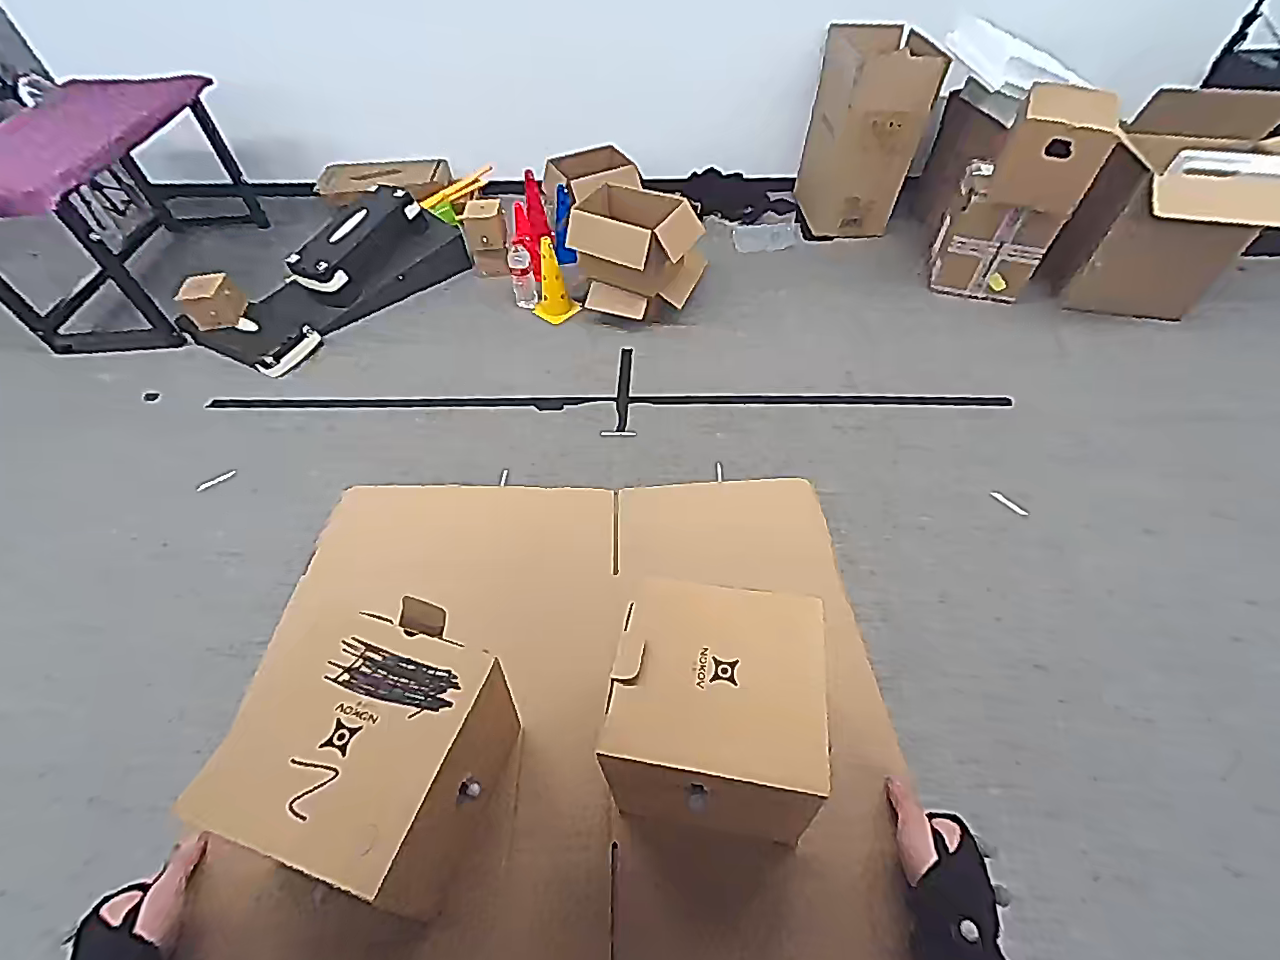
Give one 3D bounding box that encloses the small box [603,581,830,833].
[{"bbox_3d":[0.077,0.221,0.522,0.179,0.176,0.168,4,48,11],"label":"small box"}]
